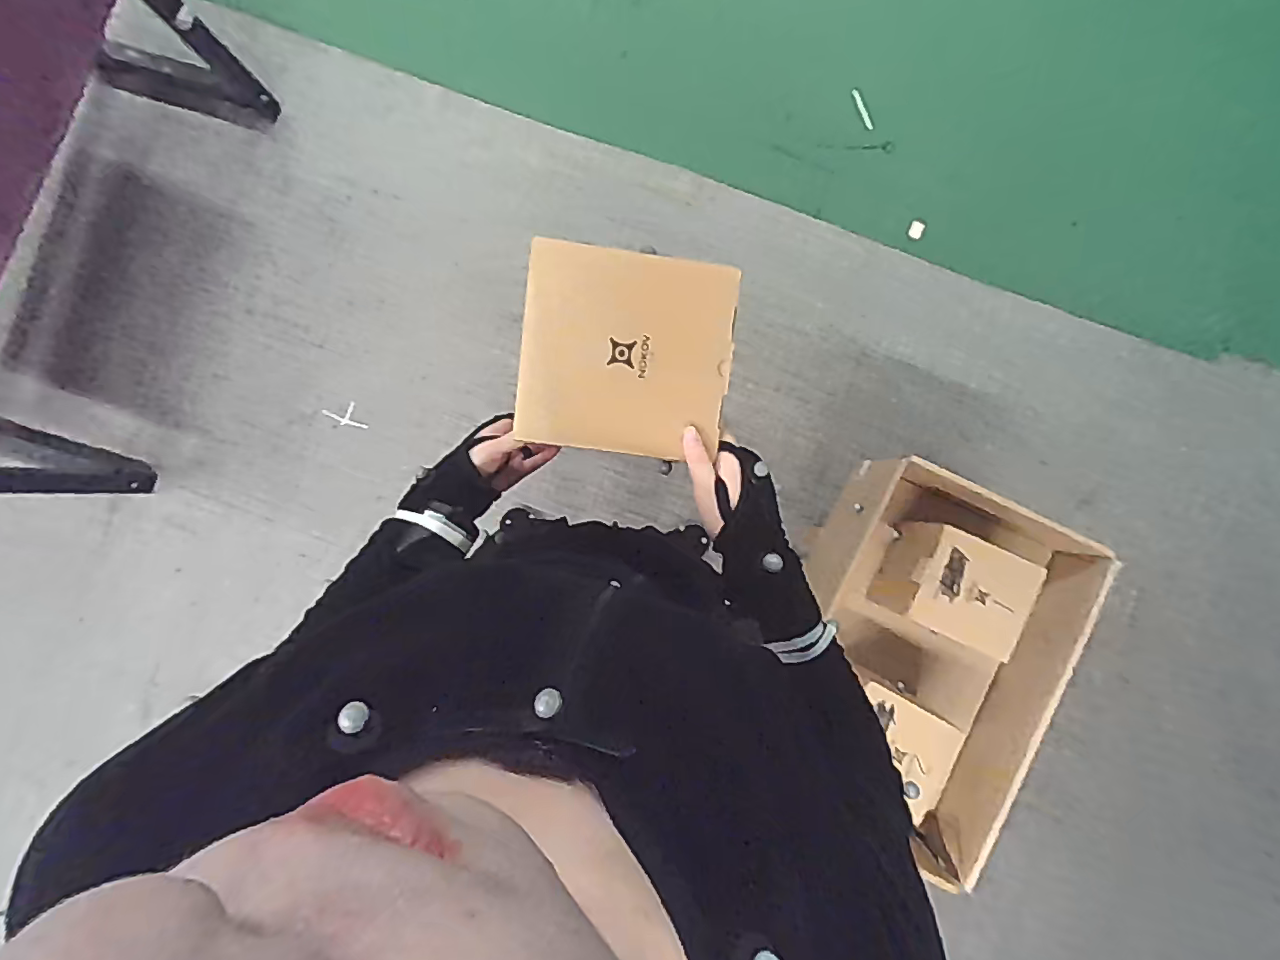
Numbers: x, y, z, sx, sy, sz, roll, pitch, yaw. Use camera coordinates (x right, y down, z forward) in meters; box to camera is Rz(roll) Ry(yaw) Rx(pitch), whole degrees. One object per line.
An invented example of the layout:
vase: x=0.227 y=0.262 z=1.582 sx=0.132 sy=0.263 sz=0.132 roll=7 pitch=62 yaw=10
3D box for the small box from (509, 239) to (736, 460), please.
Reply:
small box: x=-0.020 y=-0.114 z=0.530 sx=0.179 sy=0.176 sz=0.168 roll=6 pitch=96 yaw=-5
